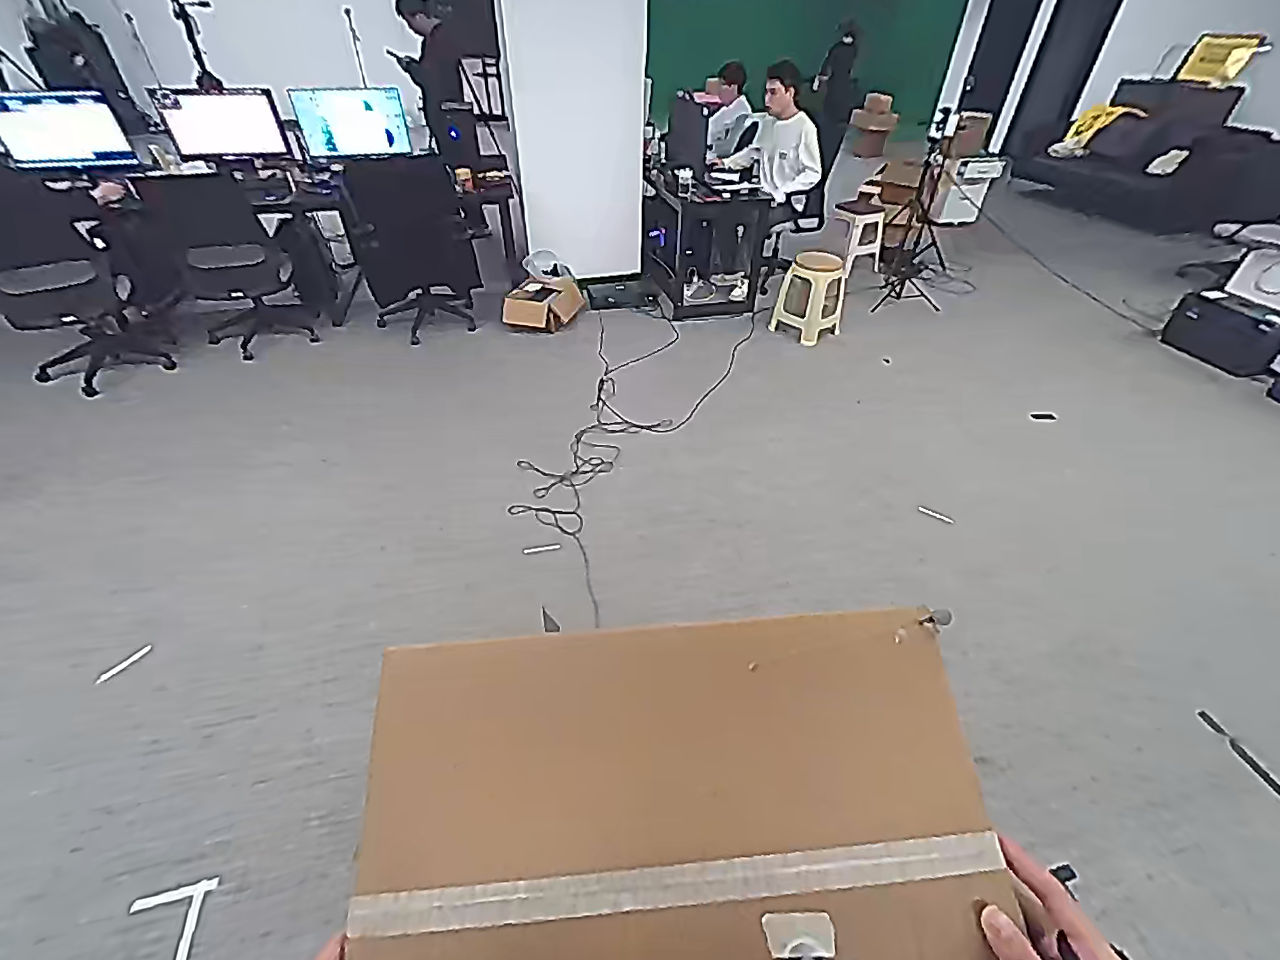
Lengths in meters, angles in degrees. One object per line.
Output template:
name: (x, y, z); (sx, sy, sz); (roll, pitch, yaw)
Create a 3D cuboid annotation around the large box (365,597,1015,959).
large box: (0.024, 0.308, 0.487); (0.408, 0.320, 0.320); (-4, 67, -3)
